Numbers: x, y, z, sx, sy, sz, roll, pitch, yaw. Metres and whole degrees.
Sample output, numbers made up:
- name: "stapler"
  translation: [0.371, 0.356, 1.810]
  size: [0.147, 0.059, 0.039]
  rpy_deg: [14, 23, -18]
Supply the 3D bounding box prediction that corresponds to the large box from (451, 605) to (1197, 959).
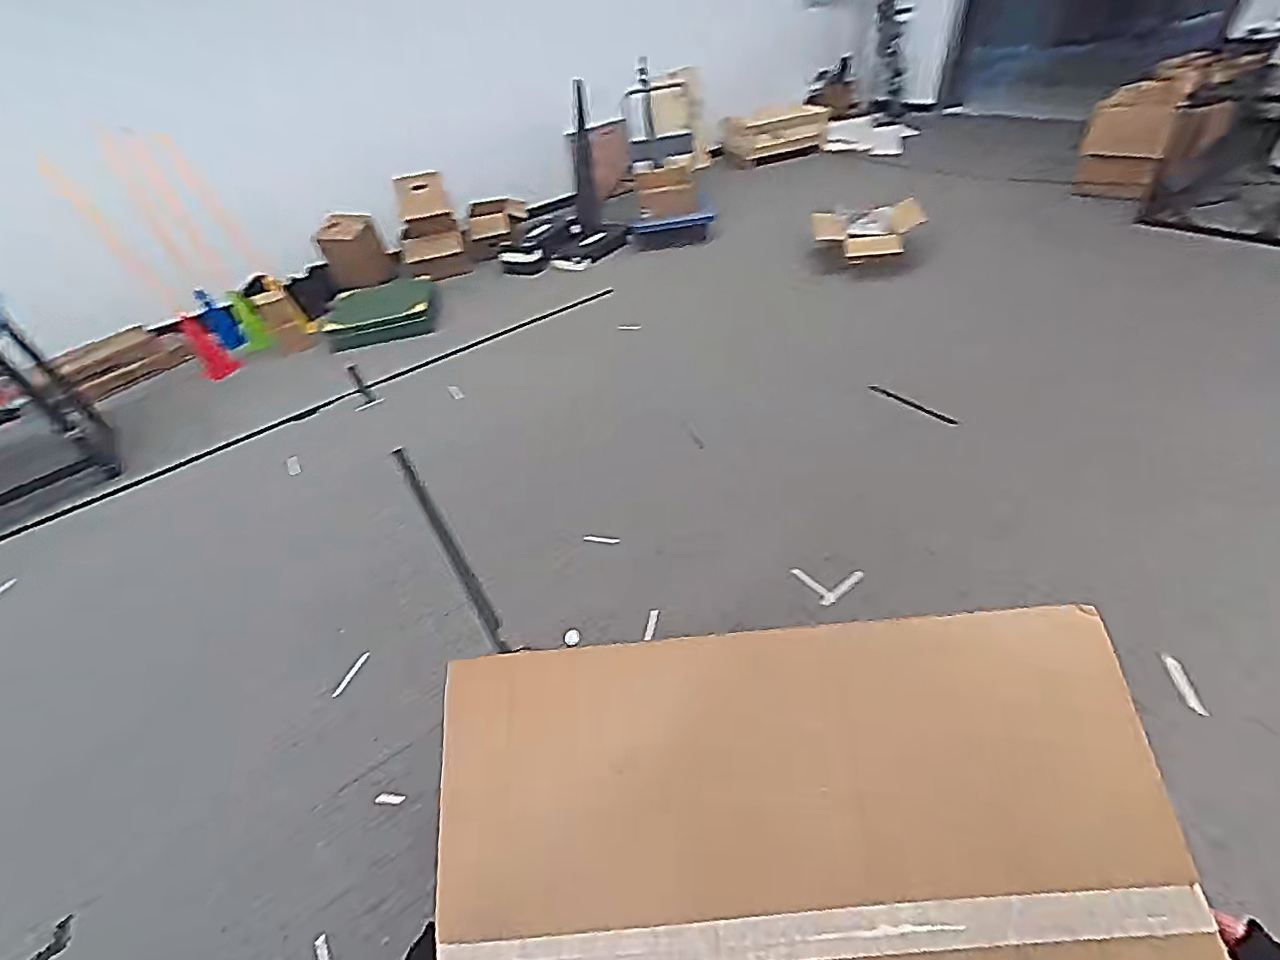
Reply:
- name: "large box"
  translation: [0.099, 0.300, 0.436]
  size: [0.408, 0.320, 0.320]
  rpy_deg: [-7, 70, 1]
